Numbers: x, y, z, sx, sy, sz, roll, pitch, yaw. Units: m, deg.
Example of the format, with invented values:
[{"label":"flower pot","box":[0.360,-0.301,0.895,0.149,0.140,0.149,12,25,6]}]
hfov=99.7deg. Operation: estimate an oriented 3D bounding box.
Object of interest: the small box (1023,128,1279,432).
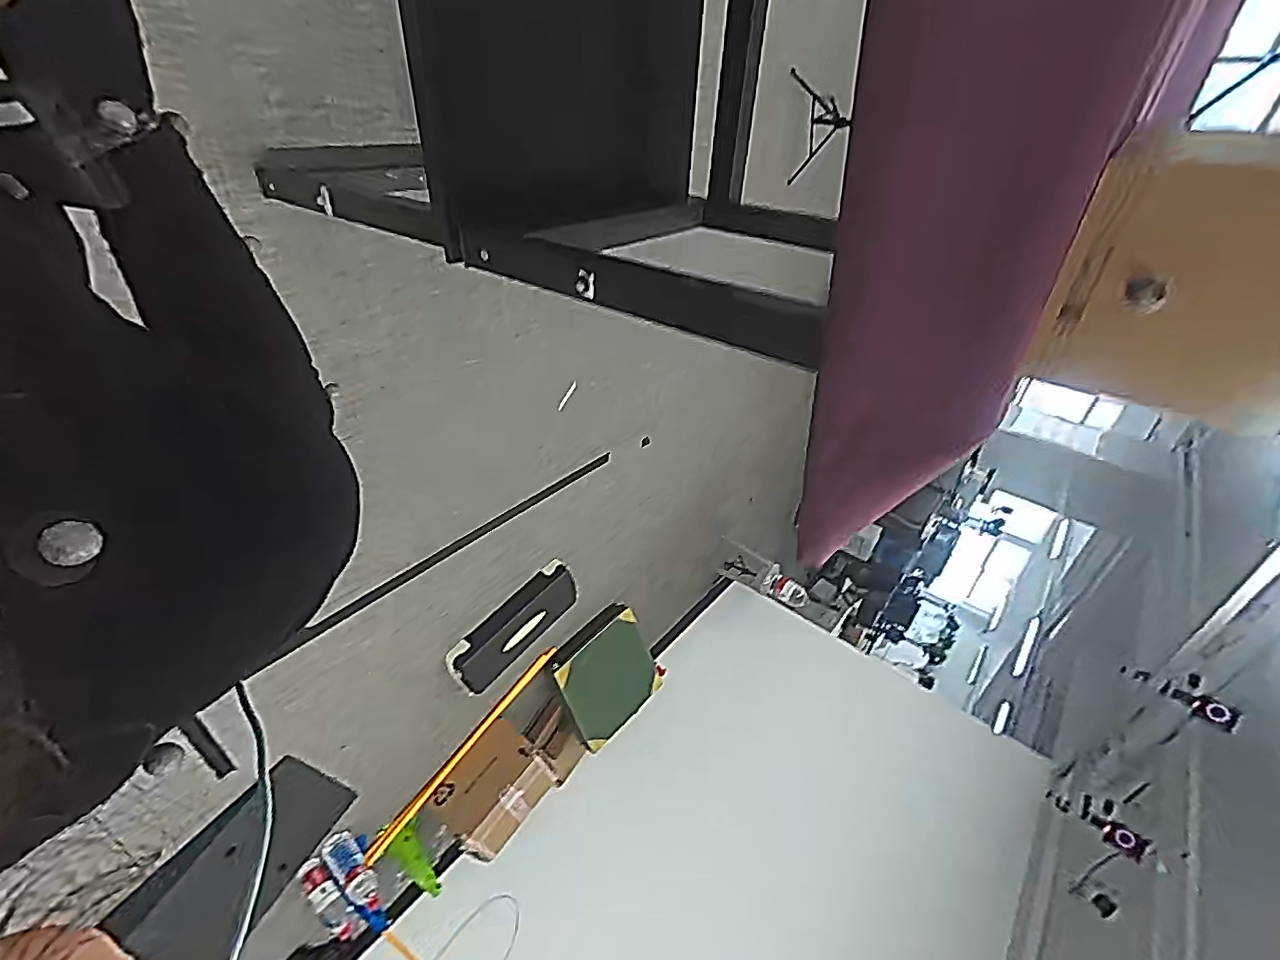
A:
[{"label":"small box","box":[0.443,-0.170,0.429,0.179,0.176,0.168,-40,141,-35]}]
